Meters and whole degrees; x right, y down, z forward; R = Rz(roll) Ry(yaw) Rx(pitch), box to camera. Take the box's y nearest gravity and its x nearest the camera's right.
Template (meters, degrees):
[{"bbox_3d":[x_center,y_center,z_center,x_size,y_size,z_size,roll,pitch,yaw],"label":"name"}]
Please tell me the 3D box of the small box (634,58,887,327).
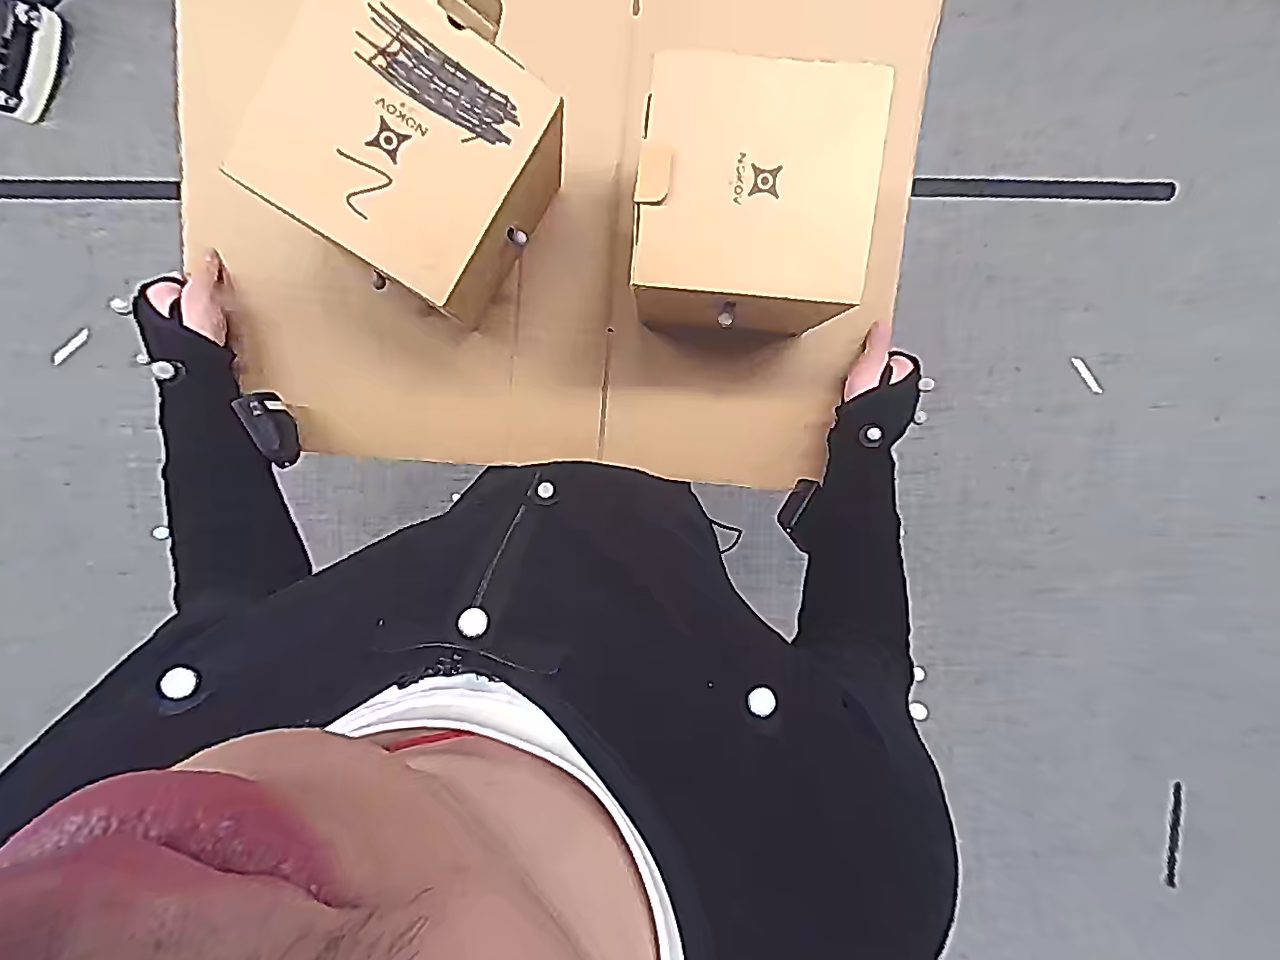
[{"bbox_3d":[0.093,-0.237,0.490,0.179,0.176,0.168,5,98,3],"label":"small box"}]
